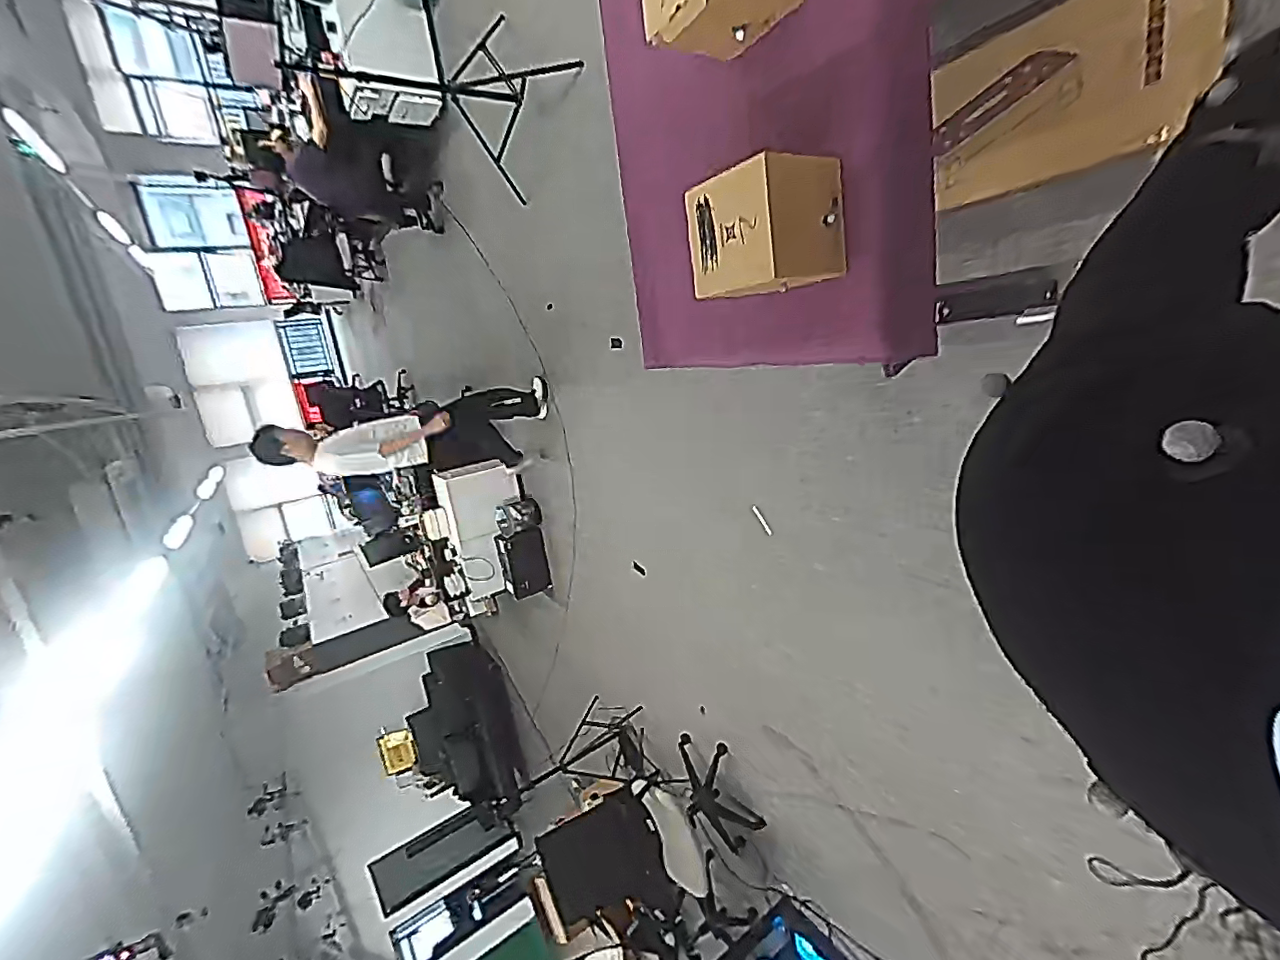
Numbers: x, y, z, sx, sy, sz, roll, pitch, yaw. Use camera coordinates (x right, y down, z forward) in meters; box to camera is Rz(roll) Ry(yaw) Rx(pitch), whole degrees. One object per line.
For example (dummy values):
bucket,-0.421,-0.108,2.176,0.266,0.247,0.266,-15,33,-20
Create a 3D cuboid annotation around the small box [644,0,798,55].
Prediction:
small box,0.116,-0.770,0.791,0.168,0.176,0.179,12,115,58
